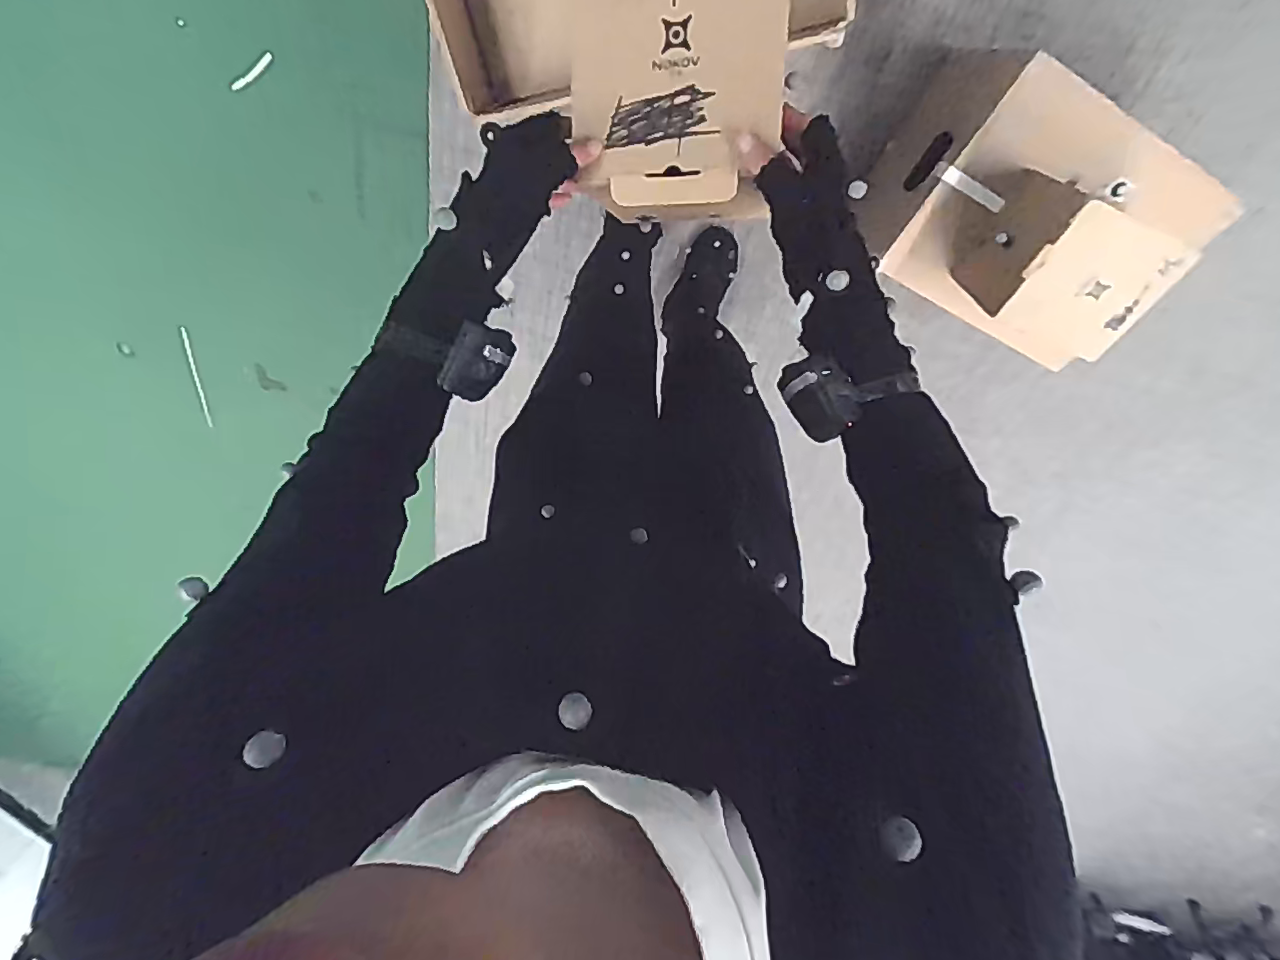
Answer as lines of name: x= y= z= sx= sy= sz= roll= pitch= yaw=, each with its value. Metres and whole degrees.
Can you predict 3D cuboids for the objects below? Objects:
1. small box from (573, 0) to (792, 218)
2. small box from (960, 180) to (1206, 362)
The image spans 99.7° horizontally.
small box: x=0.045 y=-0.343 z=0.484 sx=0.168 sy=0.176 sz=0.179 roll=3 pitch=104 yaw=12
small box: x=0.598 y=-0.300 z=0.763 sx=0.179 sy=0.176 sz=0.168 roll=19 pitch=129 yaw=-8
